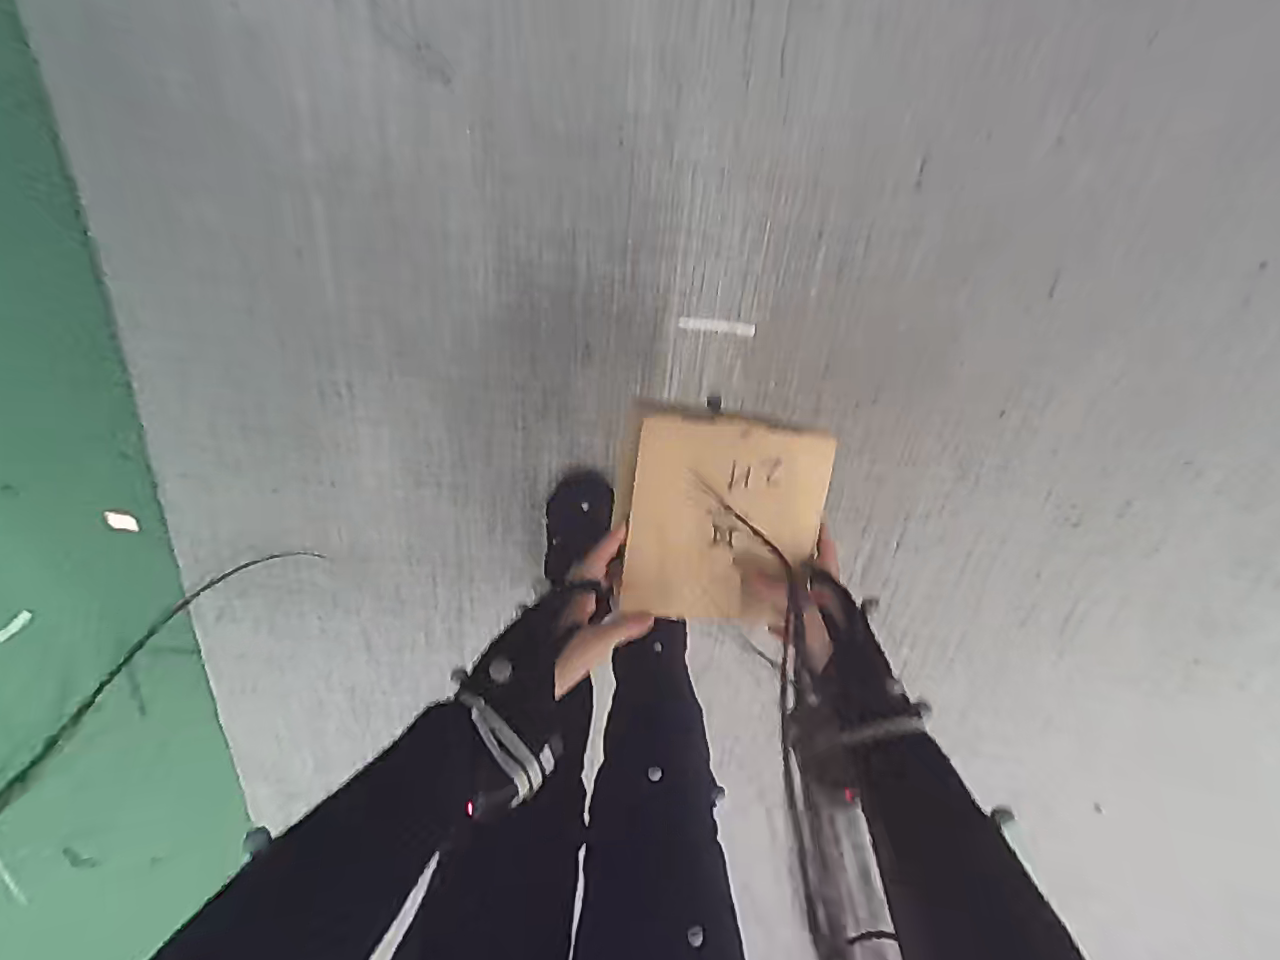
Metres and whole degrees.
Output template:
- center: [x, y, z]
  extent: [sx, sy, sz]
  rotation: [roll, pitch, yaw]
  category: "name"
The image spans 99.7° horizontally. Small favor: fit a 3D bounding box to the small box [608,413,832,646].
- center: [0.060, 0.037, 0.528]
  extent: [0.168, 0.176, 0.179]
  rotation: [6, 102, -7]
  category: "small box"
